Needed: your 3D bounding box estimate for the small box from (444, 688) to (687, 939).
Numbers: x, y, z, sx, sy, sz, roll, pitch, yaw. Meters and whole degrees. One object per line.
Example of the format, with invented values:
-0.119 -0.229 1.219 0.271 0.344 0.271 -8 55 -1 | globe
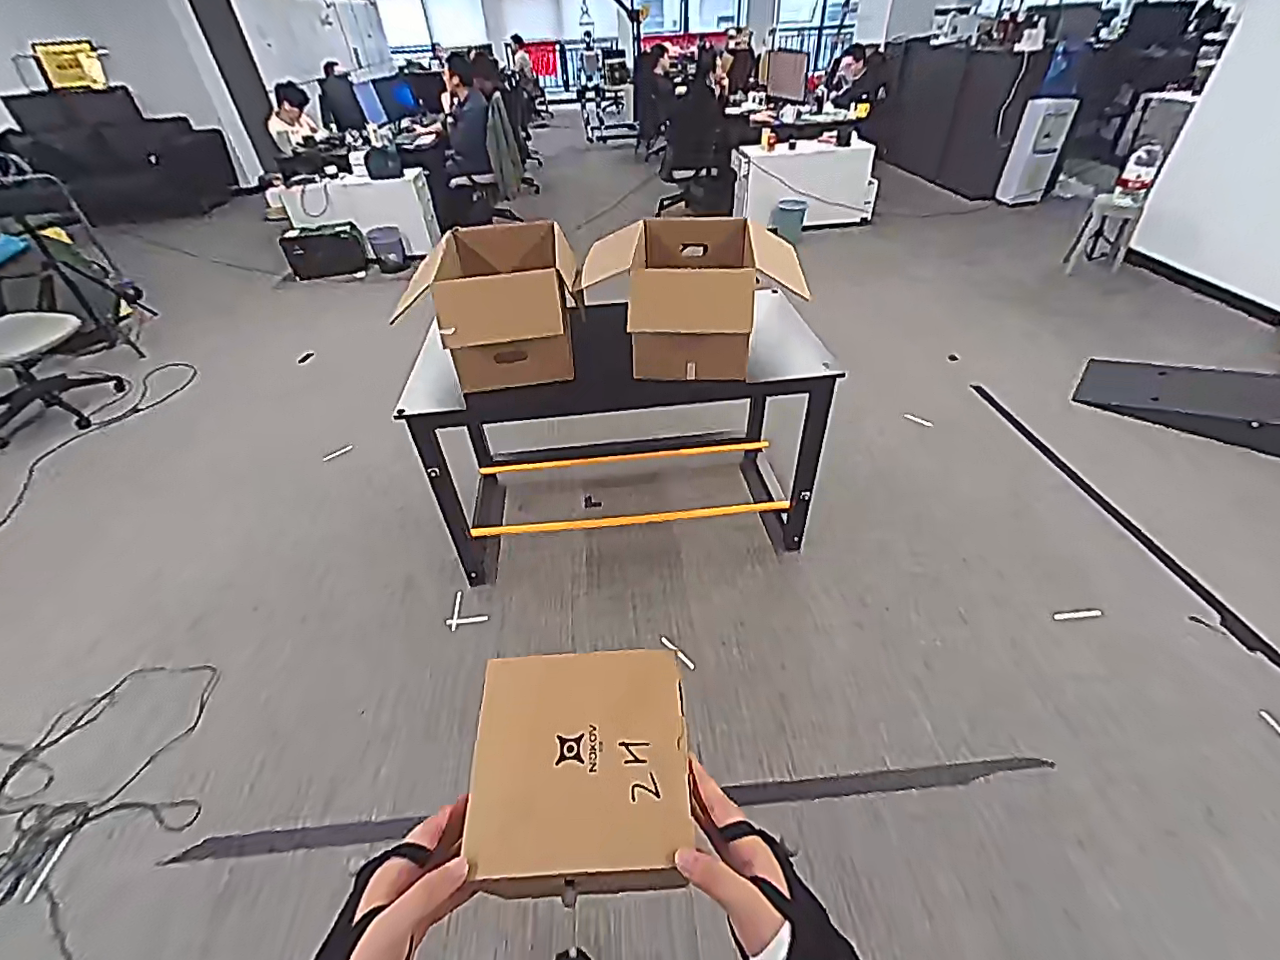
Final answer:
-0.052 0.304 0.490 0.179 0.176 0.168 -3 49 0 | small box
